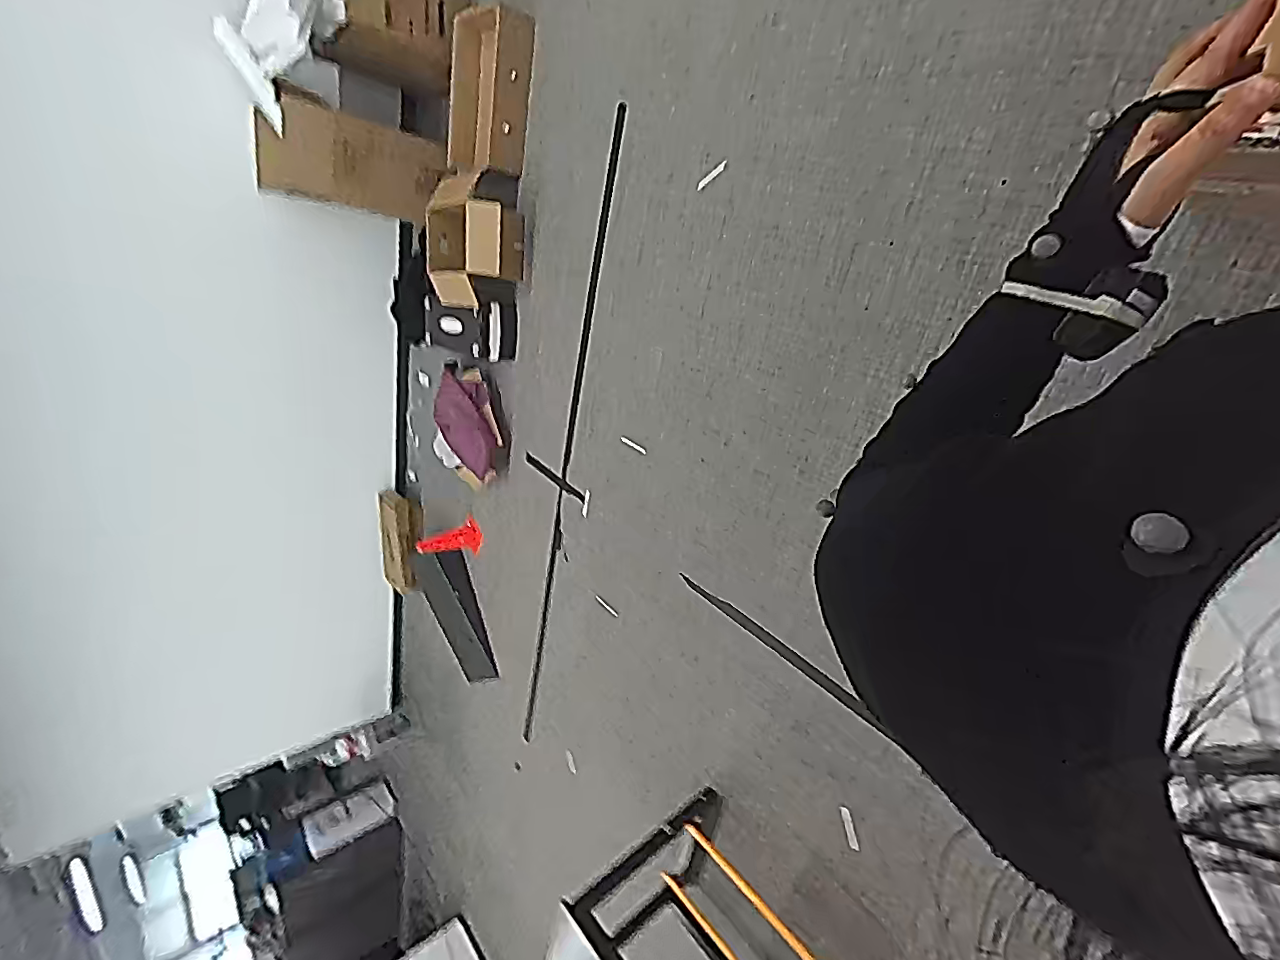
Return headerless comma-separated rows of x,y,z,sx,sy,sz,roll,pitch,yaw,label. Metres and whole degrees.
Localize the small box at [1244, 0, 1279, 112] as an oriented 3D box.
0.422,-0.292,0.248,0.168,0.176,0.179,14,123,48,small box
